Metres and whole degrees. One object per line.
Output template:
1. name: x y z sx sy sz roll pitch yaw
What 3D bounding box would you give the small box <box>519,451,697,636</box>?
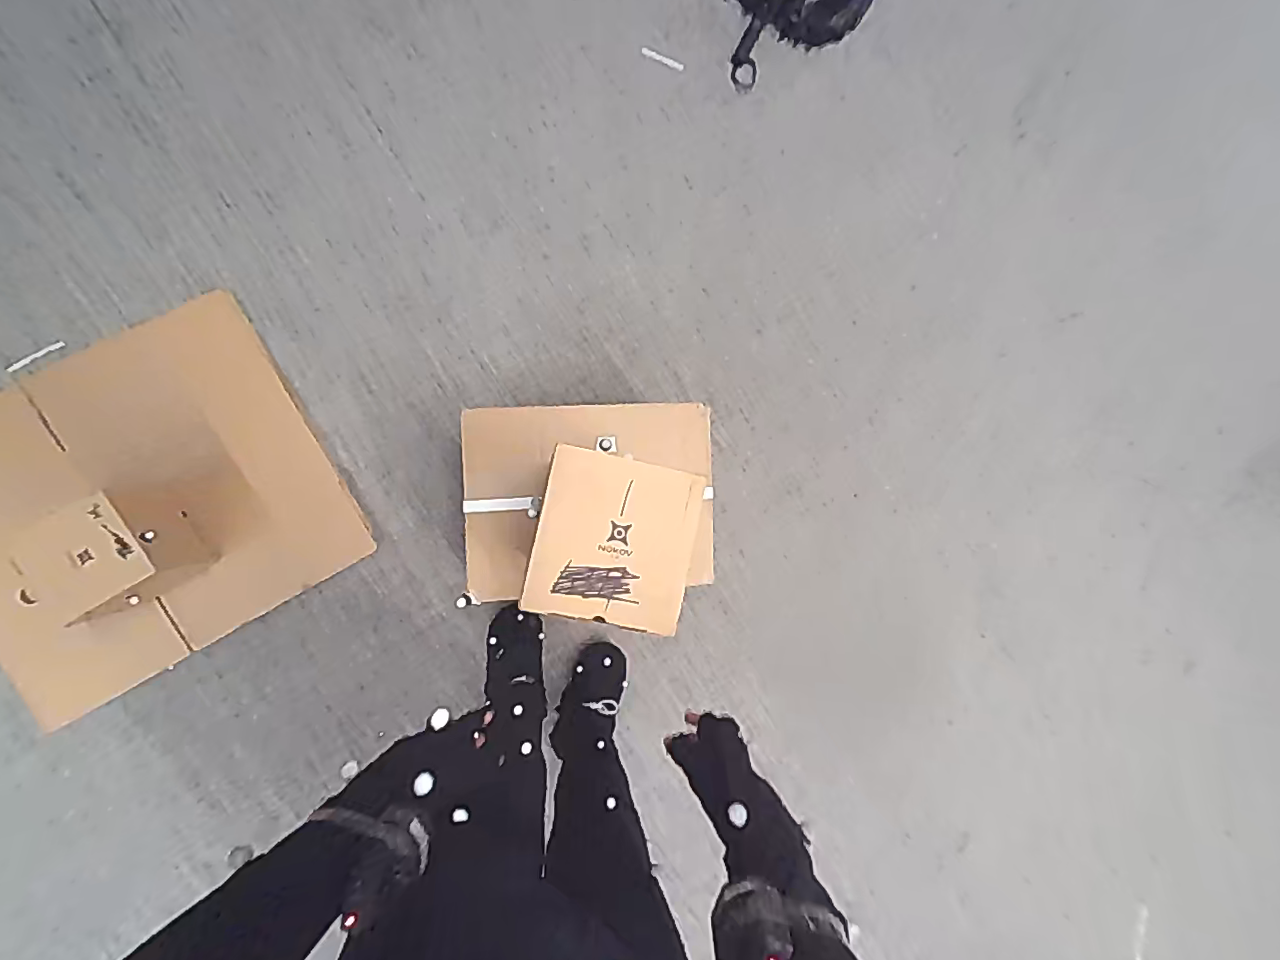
1. small box: -0.042 0.069 0.648 0.168 0.176 0.179 10 87 -8

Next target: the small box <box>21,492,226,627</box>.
1. small box: -0.923 0.137 0.987 0.179 0.176 0.168 -35 91 -6
